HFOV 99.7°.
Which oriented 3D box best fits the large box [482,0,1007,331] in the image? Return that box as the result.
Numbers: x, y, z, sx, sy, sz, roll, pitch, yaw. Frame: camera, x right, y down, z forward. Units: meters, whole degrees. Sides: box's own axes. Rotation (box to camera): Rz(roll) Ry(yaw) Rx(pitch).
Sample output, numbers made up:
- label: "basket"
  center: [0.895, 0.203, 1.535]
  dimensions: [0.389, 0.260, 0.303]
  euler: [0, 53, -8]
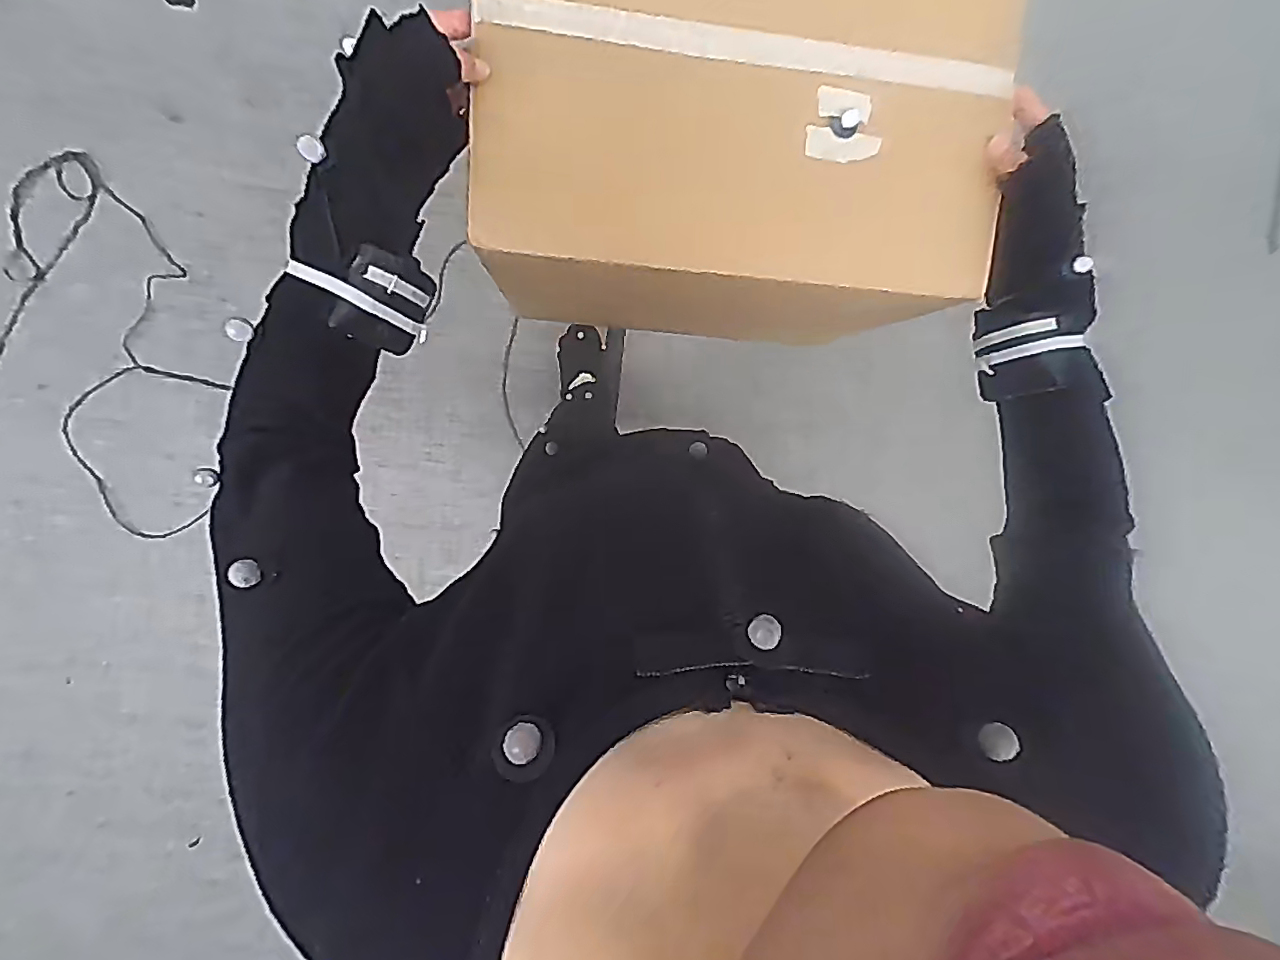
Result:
- label: "large box"
  center: [0.066, -0.341, 0.552]
  dimensions: [0.408, 0.320, 0.320]
  euler: [2, 98, -8]
